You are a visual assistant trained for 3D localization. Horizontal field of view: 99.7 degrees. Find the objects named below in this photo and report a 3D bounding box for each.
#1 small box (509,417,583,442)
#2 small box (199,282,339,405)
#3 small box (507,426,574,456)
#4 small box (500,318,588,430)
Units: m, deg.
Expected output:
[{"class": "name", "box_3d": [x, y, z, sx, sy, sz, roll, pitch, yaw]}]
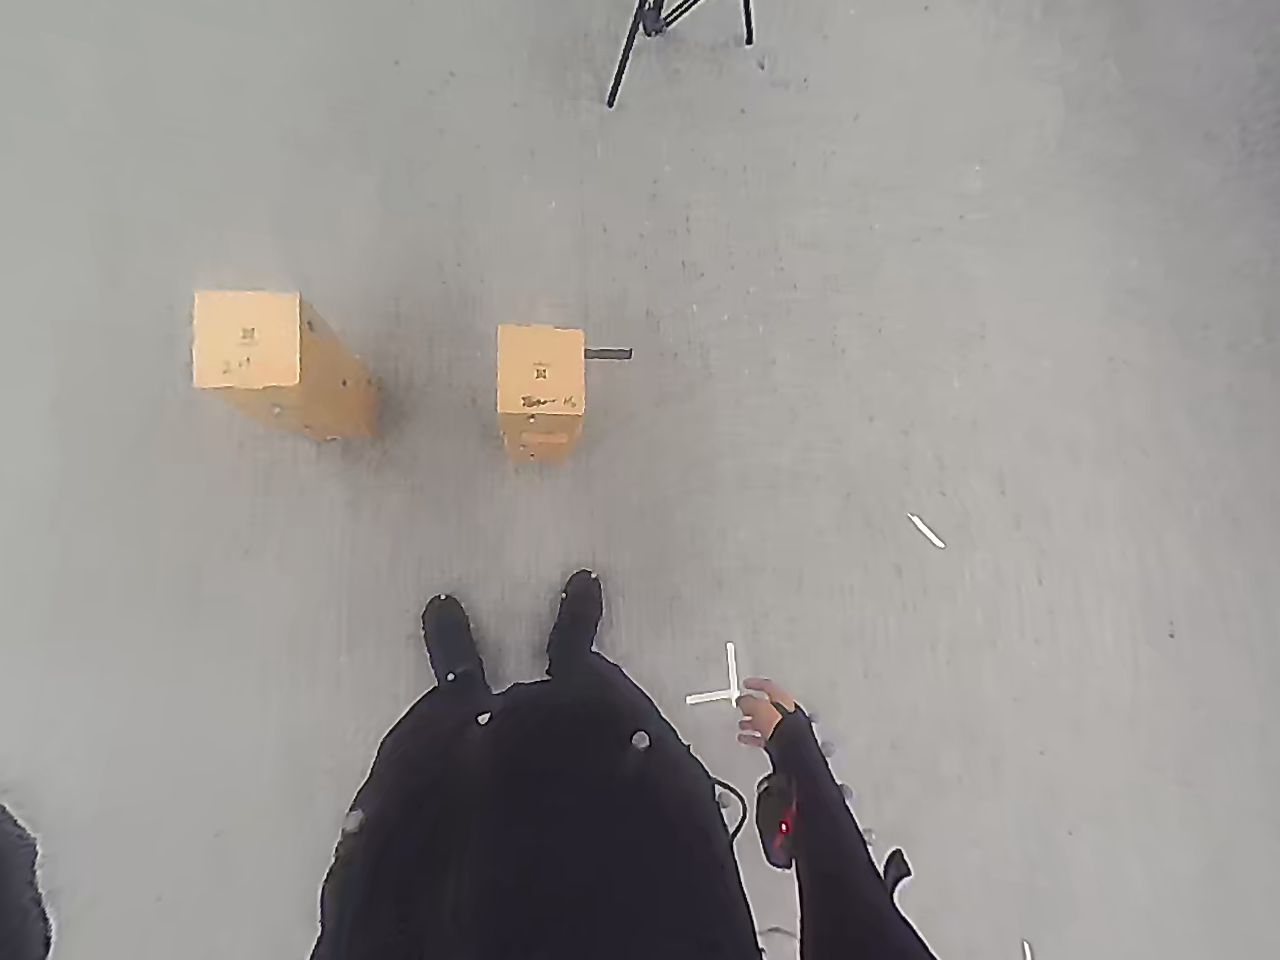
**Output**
[{"class": "small box", "box_3d": [-0.222, -0.188, 1.276, 0.168, 0.176, 0.179, 1, 82, -13]}, {"class": "small box", "box_3d": [-0.683, -0.248, 1.013, 0.168, 0.176, 0.179, -3, 84, -11]}, {"class": "small box", "box_3d": [-0.264, -0.166, 1.433, 0.168, 0.176, 0.179, 2, 83, -12]}, {"class": "small box", "box_3d": [-0.201, -0.211, 1.113, 0.168, 0.176, 0.179, 1, 82, -12]}]
